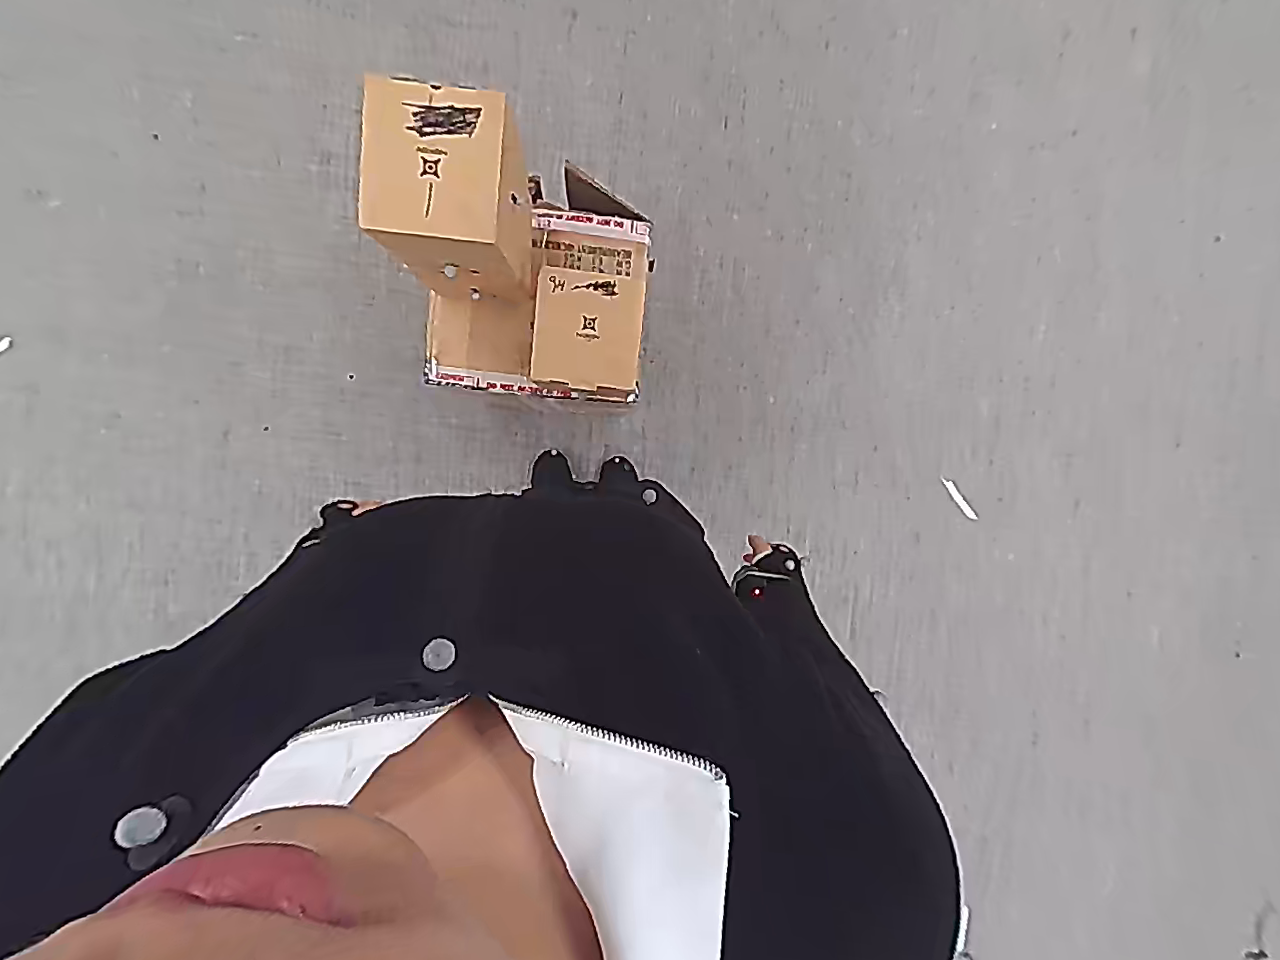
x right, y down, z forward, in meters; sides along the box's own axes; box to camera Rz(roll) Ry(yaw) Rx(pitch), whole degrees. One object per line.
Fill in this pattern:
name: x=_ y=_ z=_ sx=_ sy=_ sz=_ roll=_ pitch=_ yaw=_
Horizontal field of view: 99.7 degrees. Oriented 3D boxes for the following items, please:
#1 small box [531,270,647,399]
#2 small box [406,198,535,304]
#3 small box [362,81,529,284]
small box: x=-0.084 y=-0.232 z=0.909 sx=0.168 sy=0.176 sz=0.179 roll=6 pitch=95 yaw=-5
small box: x=-0.268 y=-0.400 z=0.884 sx=0.168 sy=0.176 sz=0.179 roll=2 pitch=96 yaw=-2
small box: x=-0.246 y=-0.379 z=0.721 sx=0.168 sy=0.176 sz=0.179 roll=6 pitch=96 yaw=-3
